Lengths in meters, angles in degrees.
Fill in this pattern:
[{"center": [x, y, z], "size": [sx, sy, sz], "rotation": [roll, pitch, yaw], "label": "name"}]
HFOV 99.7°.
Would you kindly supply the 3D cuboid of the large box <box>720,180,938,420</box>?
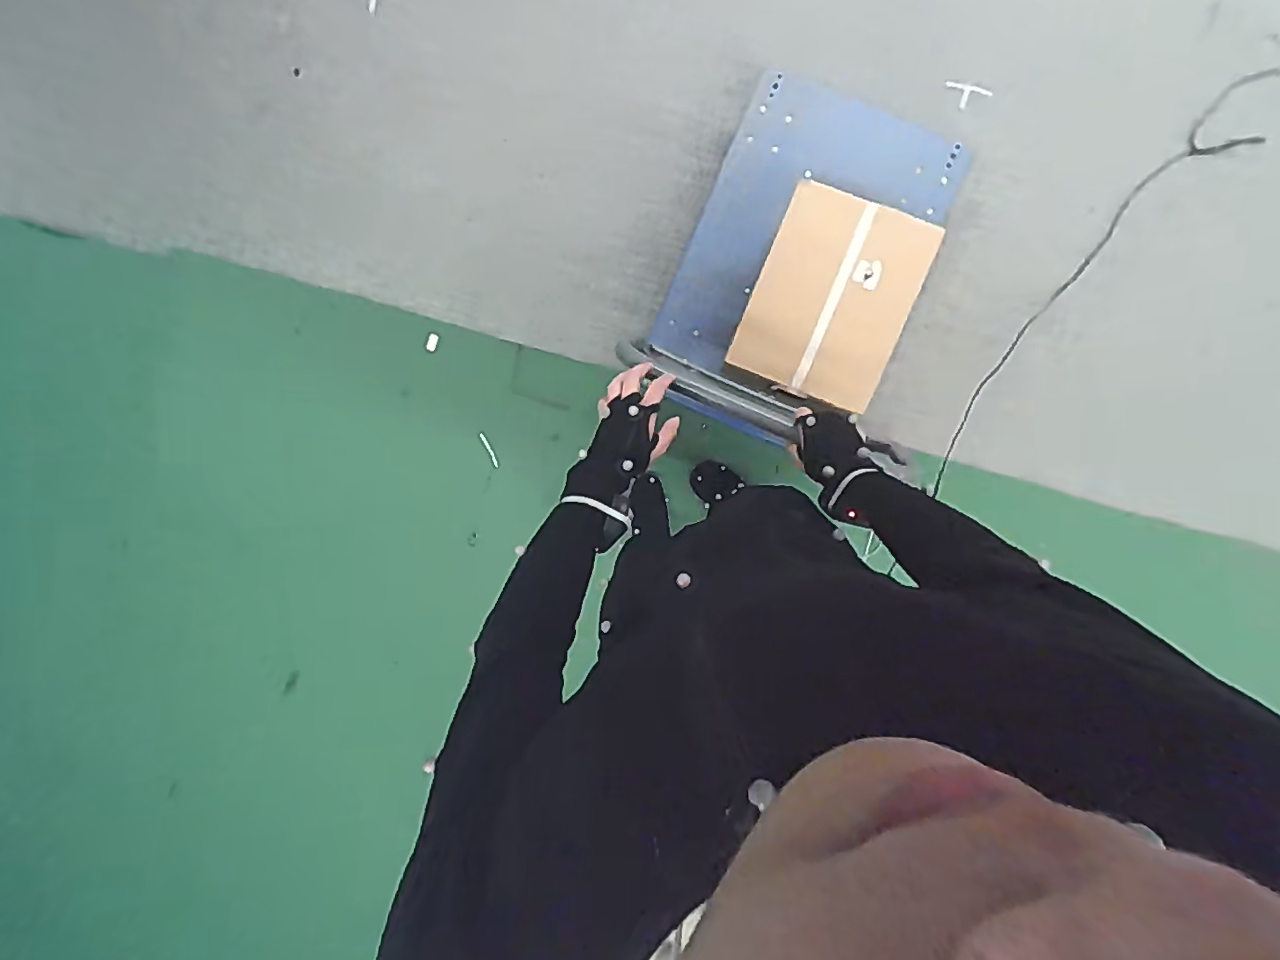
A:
[{"center": [0.404, -0.383, 1.259], "size": [0.320, 0.320, 0.408], "rotation": [22, 94, 2], "label": "large box"}]
